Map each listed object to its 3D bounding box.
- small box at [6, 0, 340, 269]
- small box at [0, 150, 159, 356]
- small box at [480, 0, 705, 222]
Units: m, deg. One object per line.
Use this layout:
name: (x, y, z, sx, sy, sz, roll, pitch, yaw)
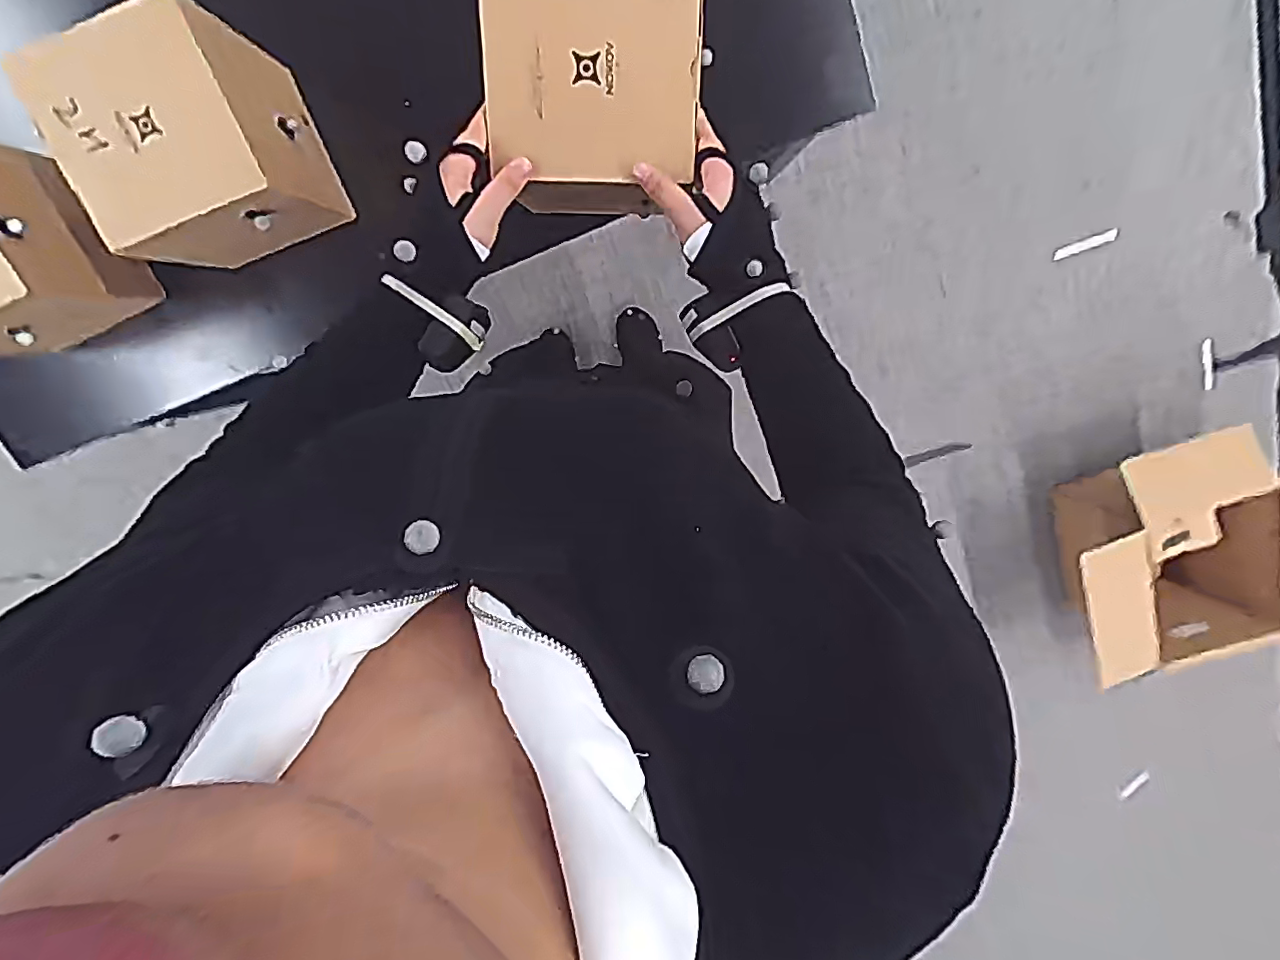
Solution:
small box: (-0.453, -0.337, 0.567, 0.179, 0.176, 0.168, -19, 105, 6)
small box: (-0.707, -0.242, 0.595, 0.179, 0.176, 0.168, -23, 106, 7)
small box: (-0.037, -0.347, 0.508, 0.179, 0.176, 0.168, 2, 107, 2)
